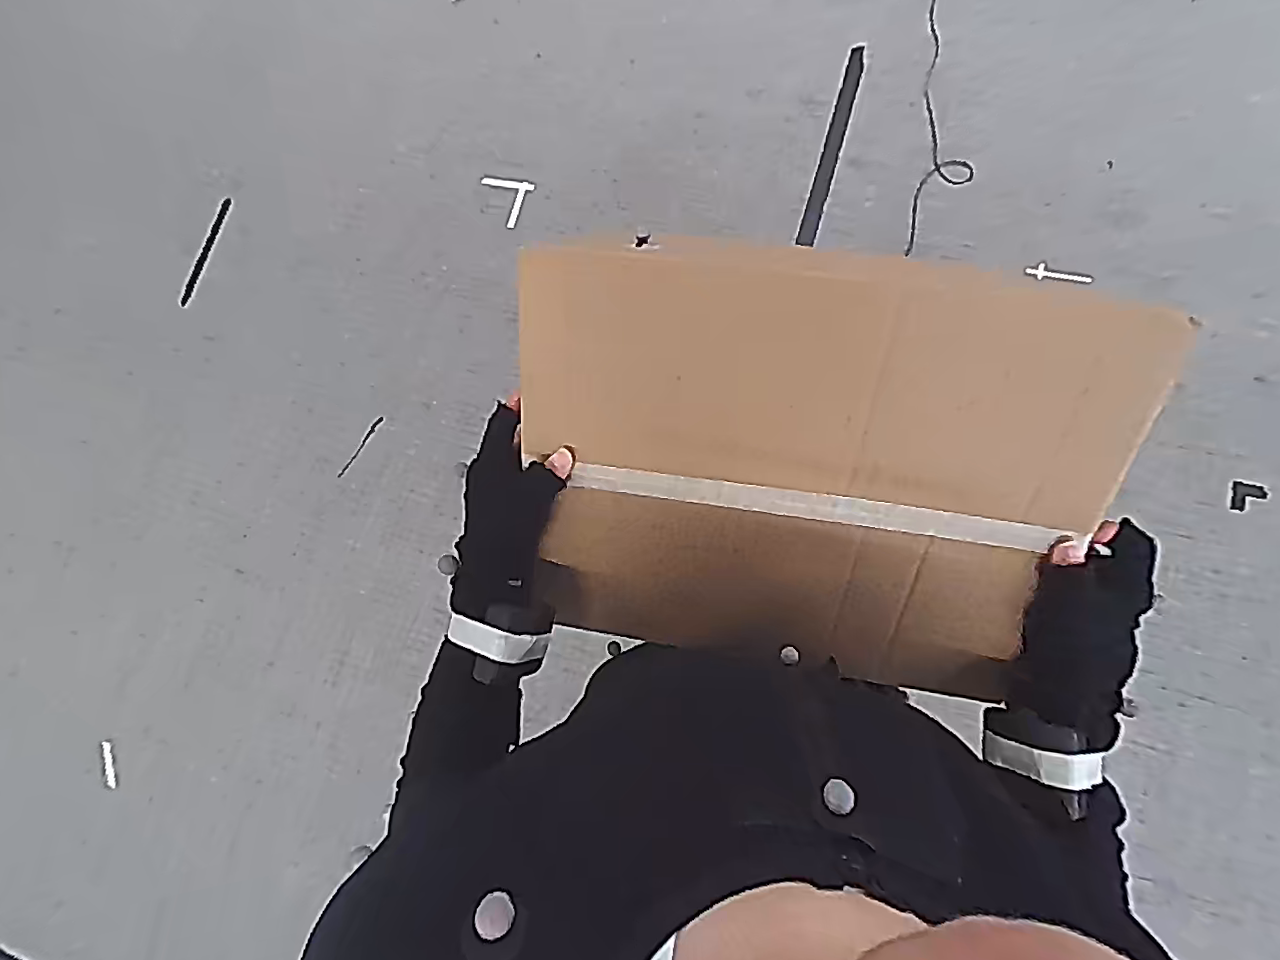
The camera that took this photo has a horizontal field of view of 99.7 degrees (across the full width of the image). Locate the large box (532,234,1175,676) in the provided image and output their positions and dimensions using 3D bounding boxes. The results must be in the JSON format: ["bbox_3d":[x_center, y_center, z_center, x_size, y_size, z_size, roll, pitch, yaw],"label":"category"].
[{"bbox_3d":[0.134,-0.061,0.539,0.408,0.320,0.320,9,118,6],"label":"large box"}]
